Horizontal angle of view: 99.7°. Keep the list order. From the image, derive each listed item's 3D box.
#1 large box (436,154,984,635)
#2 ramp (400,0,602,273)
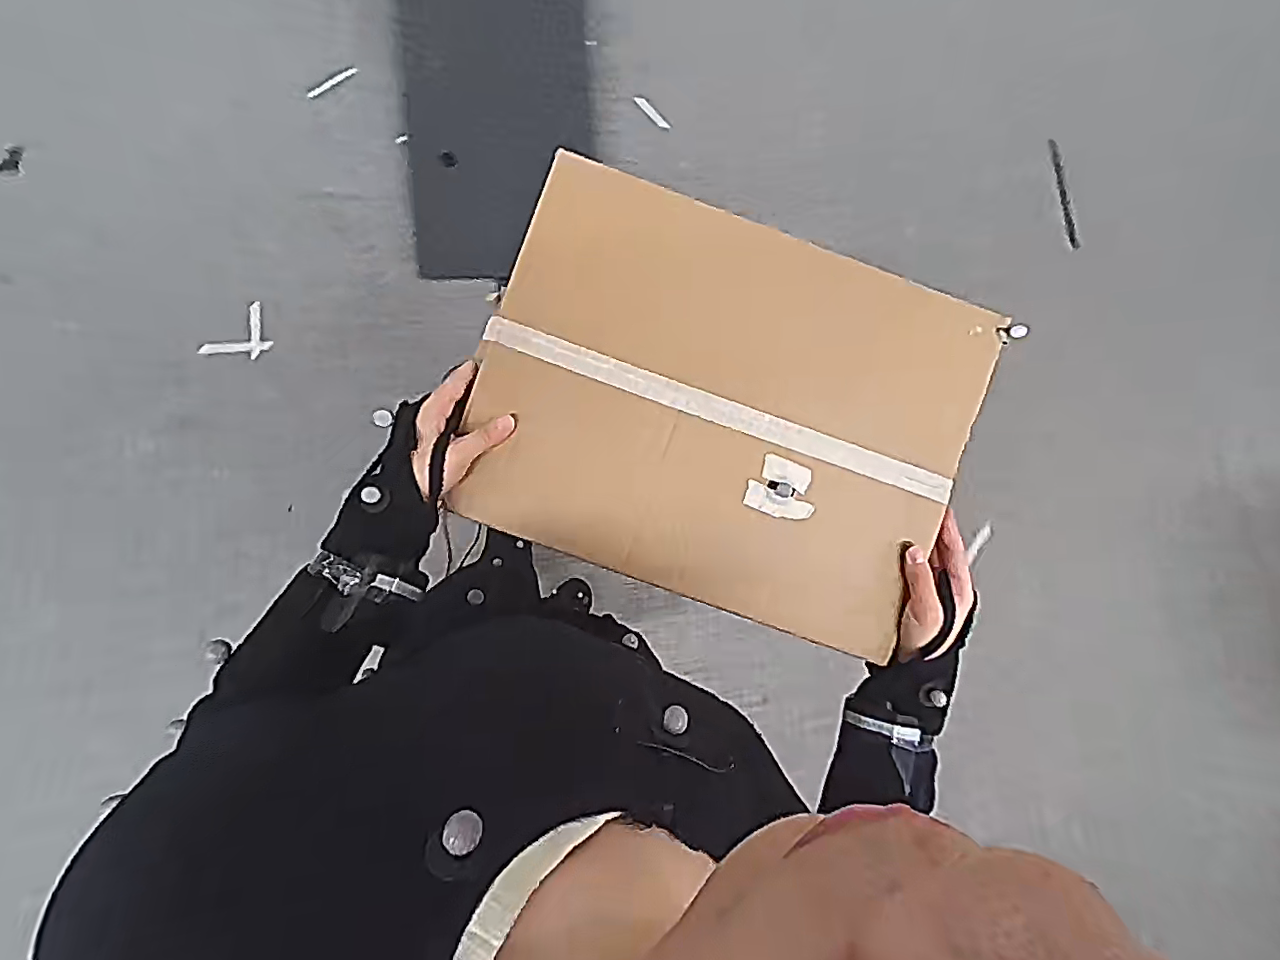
[{"bbox_3d":[0.055,-0.071,0.603,0.408,0.320,0.320,19,91,-3],"label":"large box"},{"bbox_3d":[-0.354,-1.054,1.413,0.509,0.206,0.991,-6,85,-12],"label":"ramp"}]
